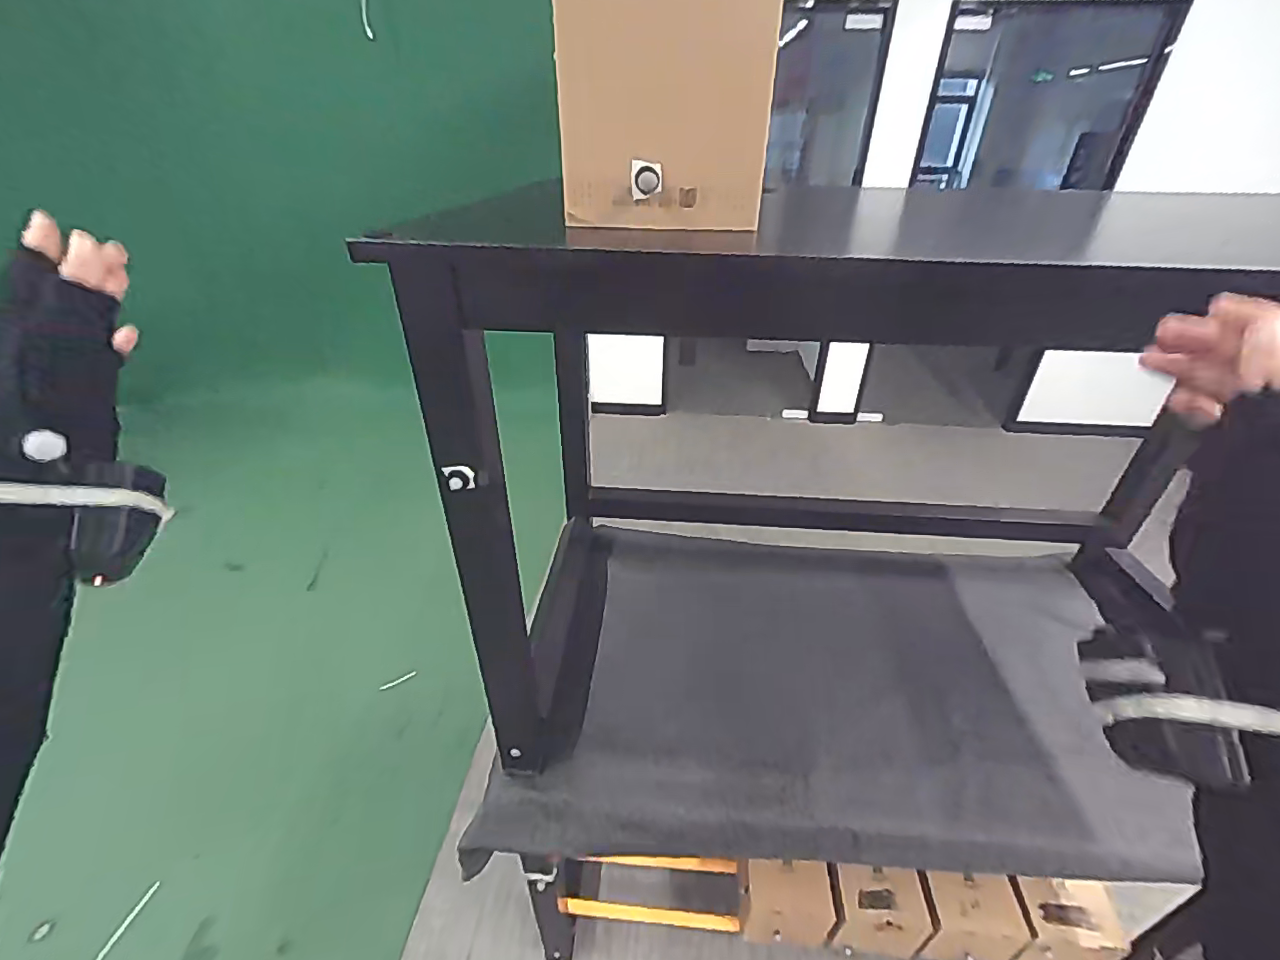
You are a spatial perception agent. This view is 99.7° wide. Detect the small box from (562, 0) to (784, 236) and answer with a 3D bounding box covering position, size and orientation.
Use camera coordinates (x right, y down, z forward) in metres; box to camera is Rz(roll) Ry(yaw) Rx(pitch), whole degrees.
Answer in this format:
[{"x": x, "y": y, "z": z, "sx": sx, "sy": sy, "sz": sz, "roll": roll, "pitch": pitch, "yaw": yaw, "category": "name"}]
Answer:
[{"x": 0.024, "y": -0.330, "z": 0.499, "sx": 0.168, "sy": 0.176, "sz": 0.179, "roll": 0, "pitch": 32, "yaw": 1, "category": "small box"}]
